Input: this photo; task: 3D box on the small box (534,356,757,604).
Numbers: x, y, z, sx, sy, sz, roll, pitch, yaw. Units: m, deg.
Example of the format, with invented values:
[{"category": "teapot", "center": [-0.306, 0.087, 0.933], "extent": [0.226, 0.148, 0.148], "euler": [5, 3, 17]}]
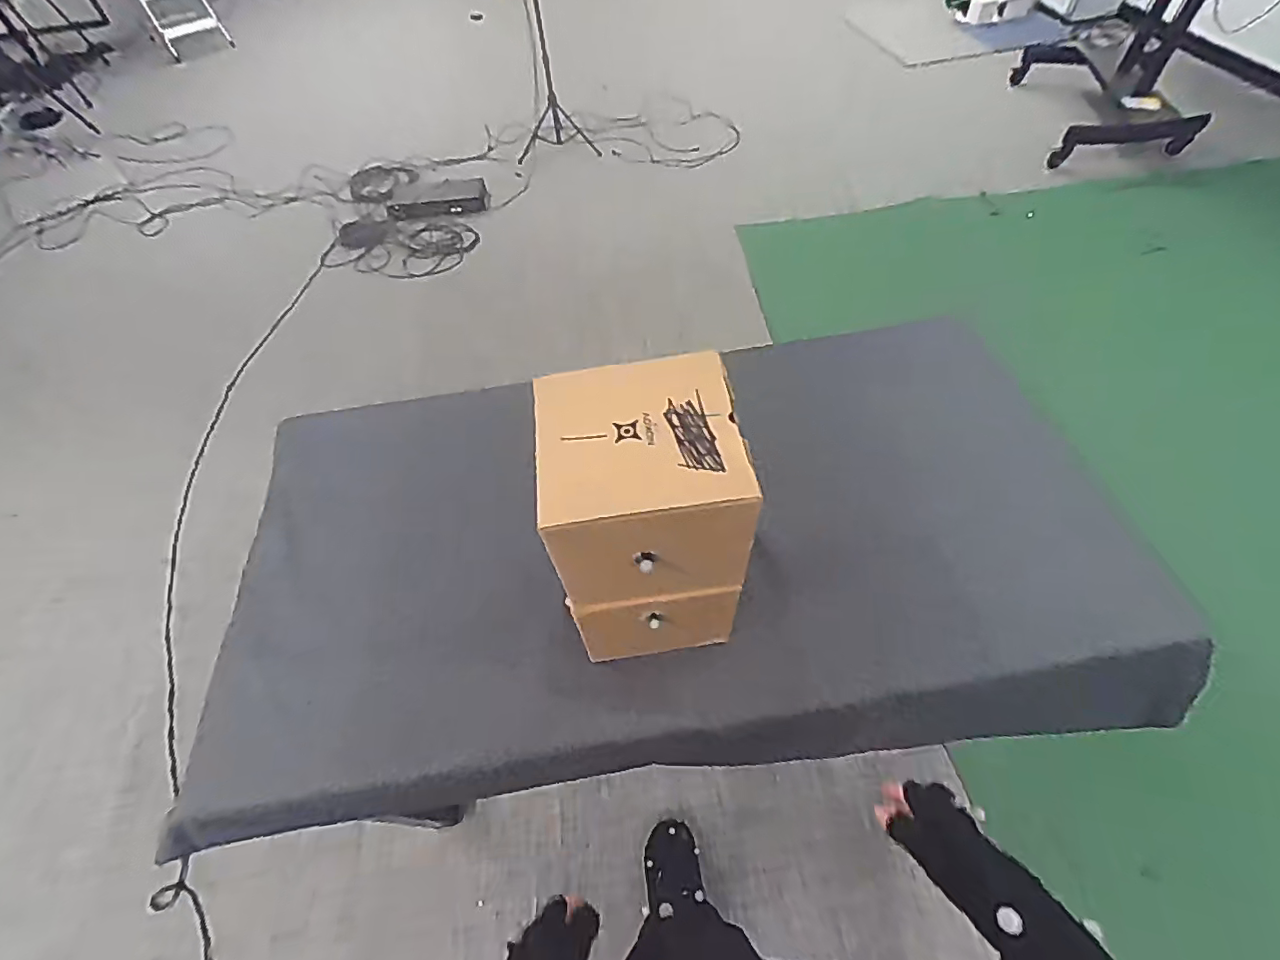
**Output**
[{"category": "small box", "center": [0.001, 0.007, 0.525], "extent": [0.179, 0.176, 0.168], "euler": [-8, 56, 0]}]

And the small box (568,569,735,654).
[{"category": "small box", "center": [0.007, 0.101, 0.660], "extent": [0.179, 0.176, 0.168], "euler": [-8, 57, -3]}]
